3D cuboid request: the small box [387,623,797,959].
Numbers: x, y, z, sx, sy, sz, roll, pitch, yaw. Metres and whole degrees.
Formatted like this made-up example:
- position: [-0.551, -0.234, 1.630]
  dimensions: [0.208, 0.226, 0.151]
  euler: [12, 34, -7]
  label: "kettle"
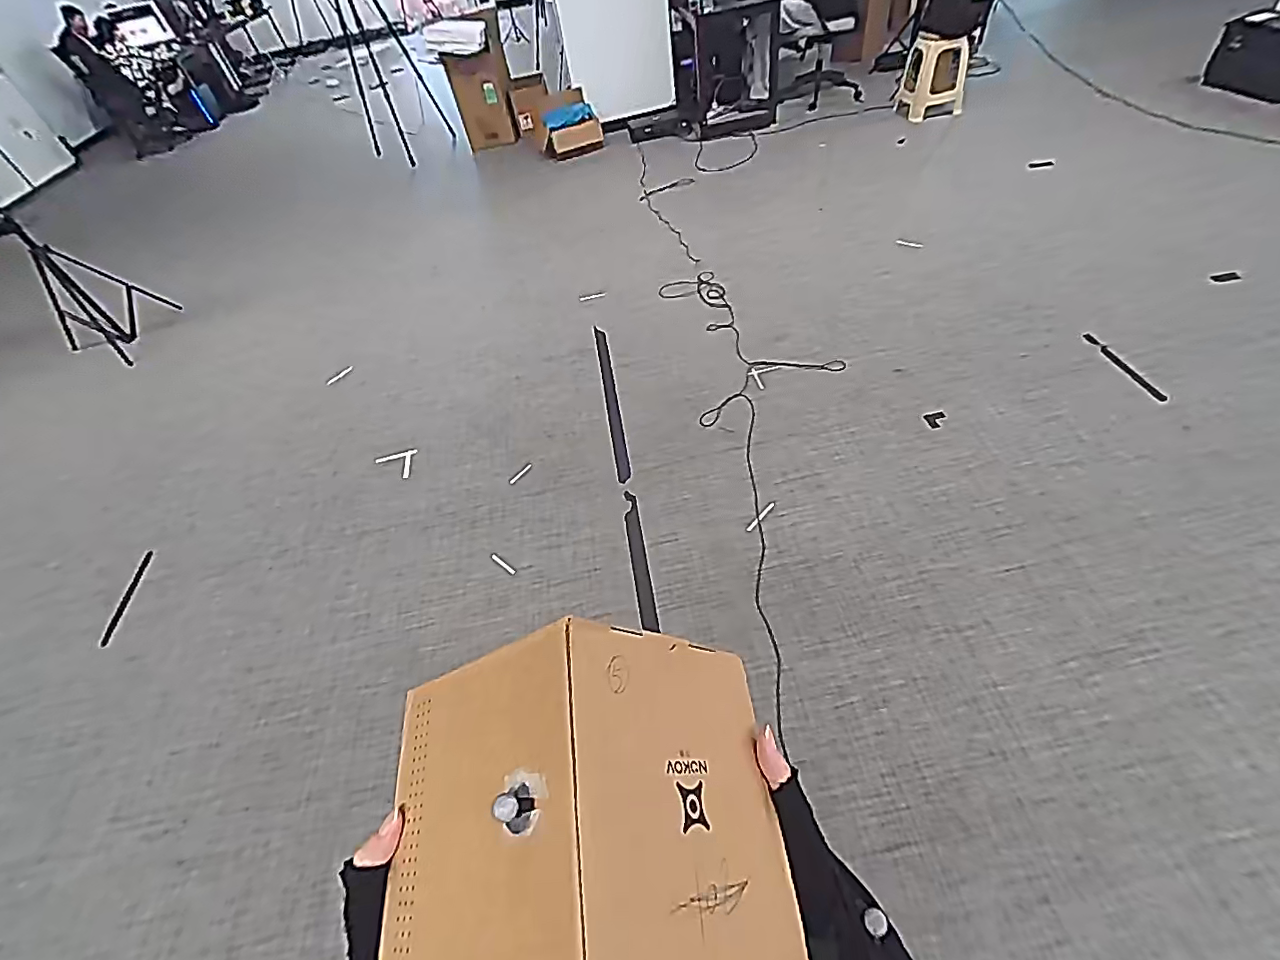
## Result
- position: [-0.035, 0.214, 0.341]
  dimensions: [0.176, 0.168, 0.179]
  euler: [-32, 49, 31]
  label: "small box"
